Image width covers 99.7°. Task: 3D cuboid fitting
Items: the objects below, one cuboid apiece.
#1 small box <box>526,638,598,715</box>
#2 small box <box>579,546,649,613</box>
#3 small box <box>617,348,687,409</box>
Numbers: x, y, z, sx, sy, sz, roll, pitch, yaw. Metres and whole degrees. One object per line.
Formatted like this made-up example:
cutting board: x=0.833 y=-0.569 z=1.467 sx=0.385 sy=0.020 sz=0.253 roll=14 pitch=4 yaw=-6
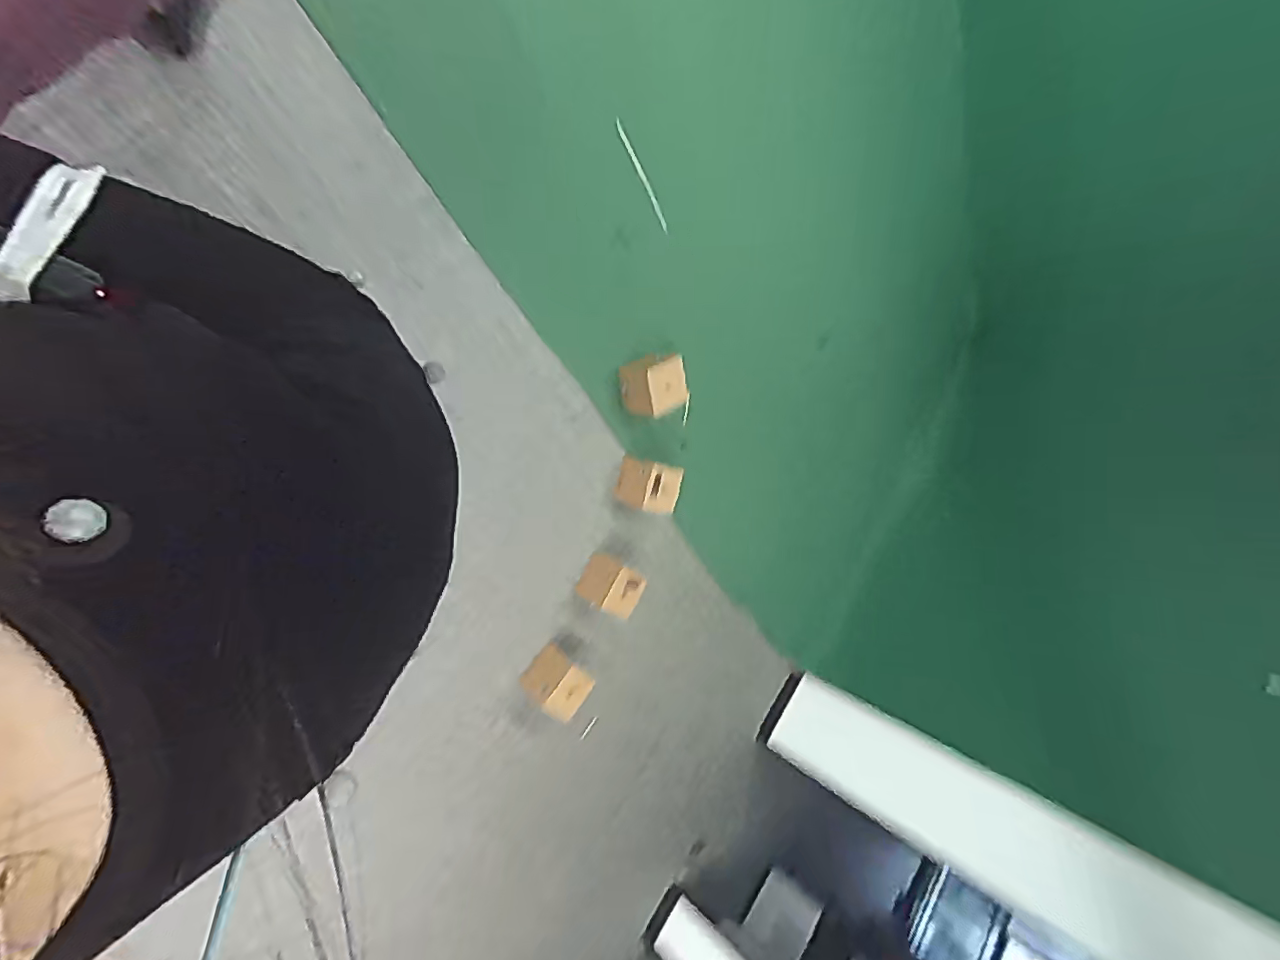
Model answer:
small box: x=-0.294 y=0.717 z=1.983 sx=0.179 sy=0.176 sz=0.168 roll=-52 pitch=133 yaw=-18
small box: x=-0.104 y=0.374 z=2.053 sx=0.168 sy=0.176 sz=0.179 roll=38 pitch=77 yaw=-43
small box: x=0.043 y=-0.372 z=1.952 sx=0.179 sy=0.176 sz=0.168 roll=-32 pitch=123 yaw=-33
